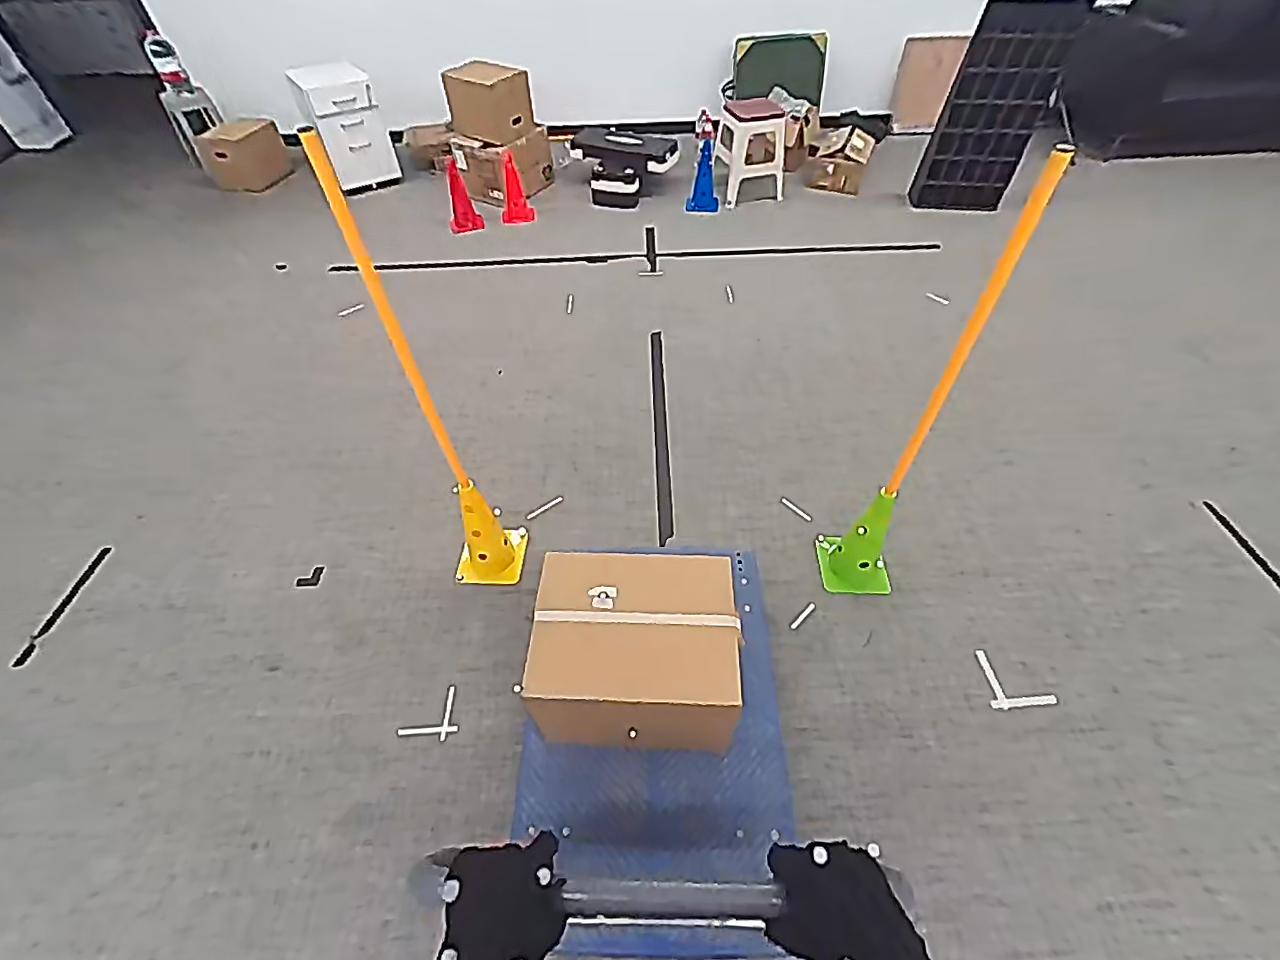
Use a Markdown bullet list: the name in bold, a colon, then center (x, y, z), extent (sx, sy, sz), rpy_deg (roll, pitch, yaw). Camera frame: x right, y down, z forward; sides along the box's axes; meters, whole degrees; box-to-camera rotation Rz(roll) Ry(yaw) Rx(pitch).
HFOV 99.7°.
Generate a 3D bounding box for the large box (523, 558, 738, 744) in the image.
- **large box**: center (-0.007, 0.384, 1.199), extent (0.408, 0.320, 0.320), rpy_deg (1, 50, 3)

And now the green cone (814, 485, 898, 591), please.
- **green cone**: center (0.660, 0.146, 1.568), extent (0.202, 0.368, 0.200), rpy_deg (2, 50, 2)
